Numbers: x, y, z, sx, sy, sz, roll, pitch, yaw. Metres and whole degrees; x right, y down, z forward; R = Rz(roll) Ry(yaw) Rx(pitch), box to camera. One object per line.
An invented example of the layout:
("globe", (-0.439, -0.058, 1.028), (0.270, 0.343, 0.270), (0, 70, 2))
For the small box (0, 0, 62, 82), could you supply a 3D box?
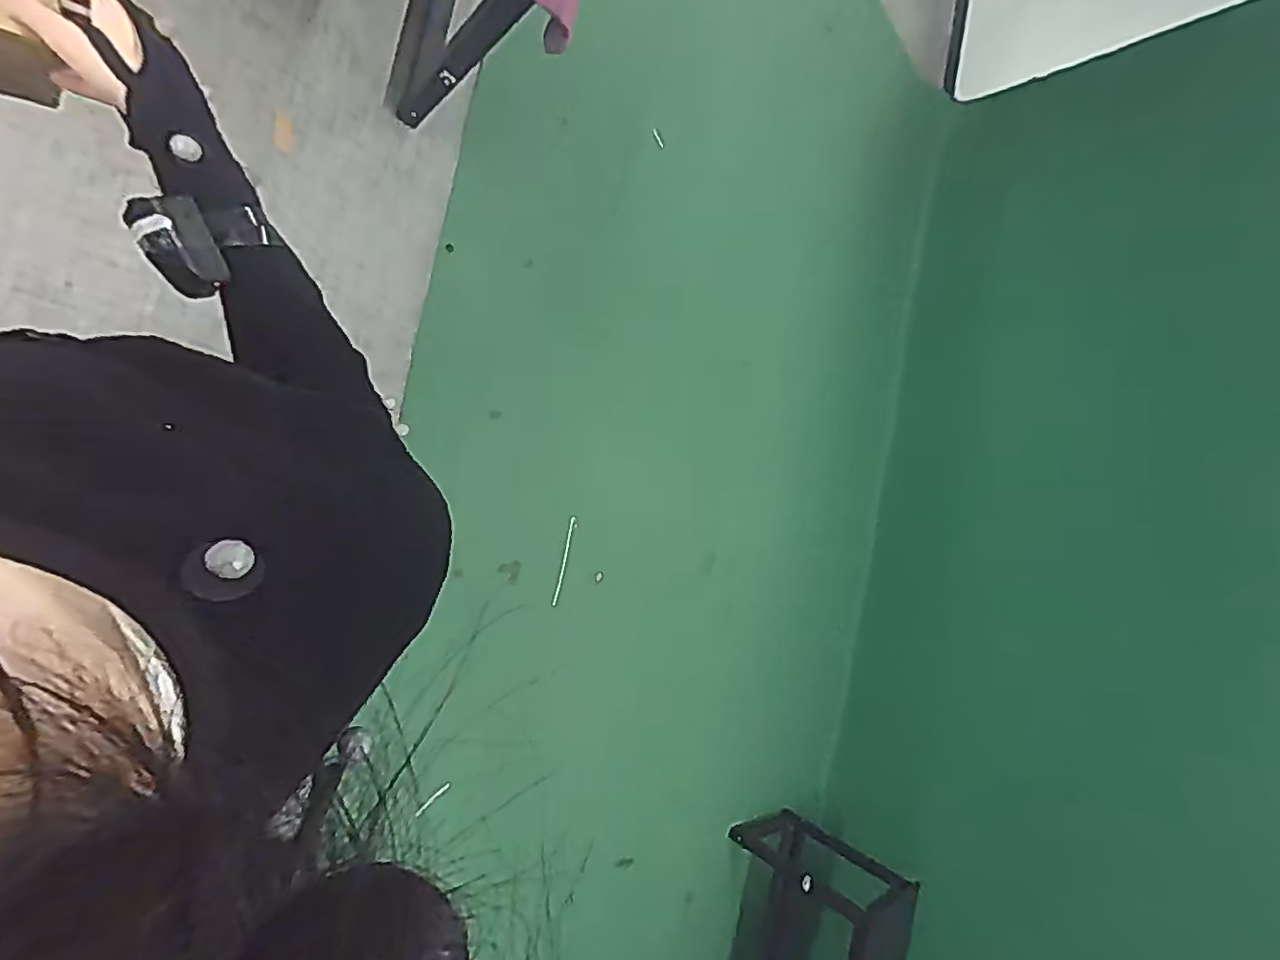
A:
("small box", (-0.492, -0.379, 0.329), (0.179, 0.176, 0.168), (-8, 108, -46))
